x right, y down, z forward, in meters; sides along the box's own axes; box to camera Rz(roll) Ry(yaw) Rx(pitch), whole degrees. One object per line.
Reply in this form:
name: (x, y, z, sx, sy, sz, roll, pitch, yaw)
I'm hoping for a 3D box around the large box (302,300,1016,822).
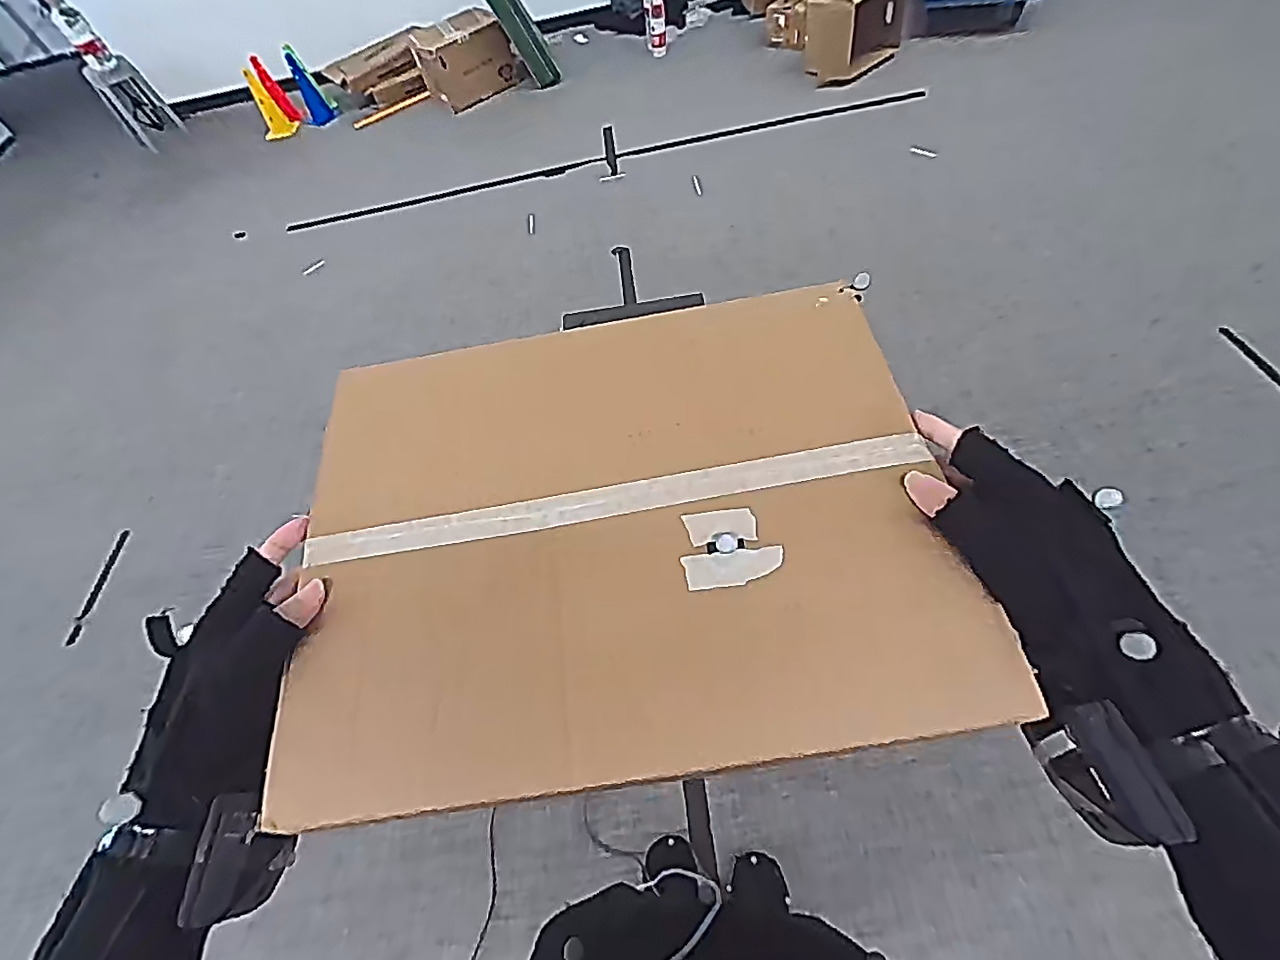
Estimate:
large box: (0.002, 0.091, 0.493, 0.408, 0.320, 0.320, -10, 62, 1)
